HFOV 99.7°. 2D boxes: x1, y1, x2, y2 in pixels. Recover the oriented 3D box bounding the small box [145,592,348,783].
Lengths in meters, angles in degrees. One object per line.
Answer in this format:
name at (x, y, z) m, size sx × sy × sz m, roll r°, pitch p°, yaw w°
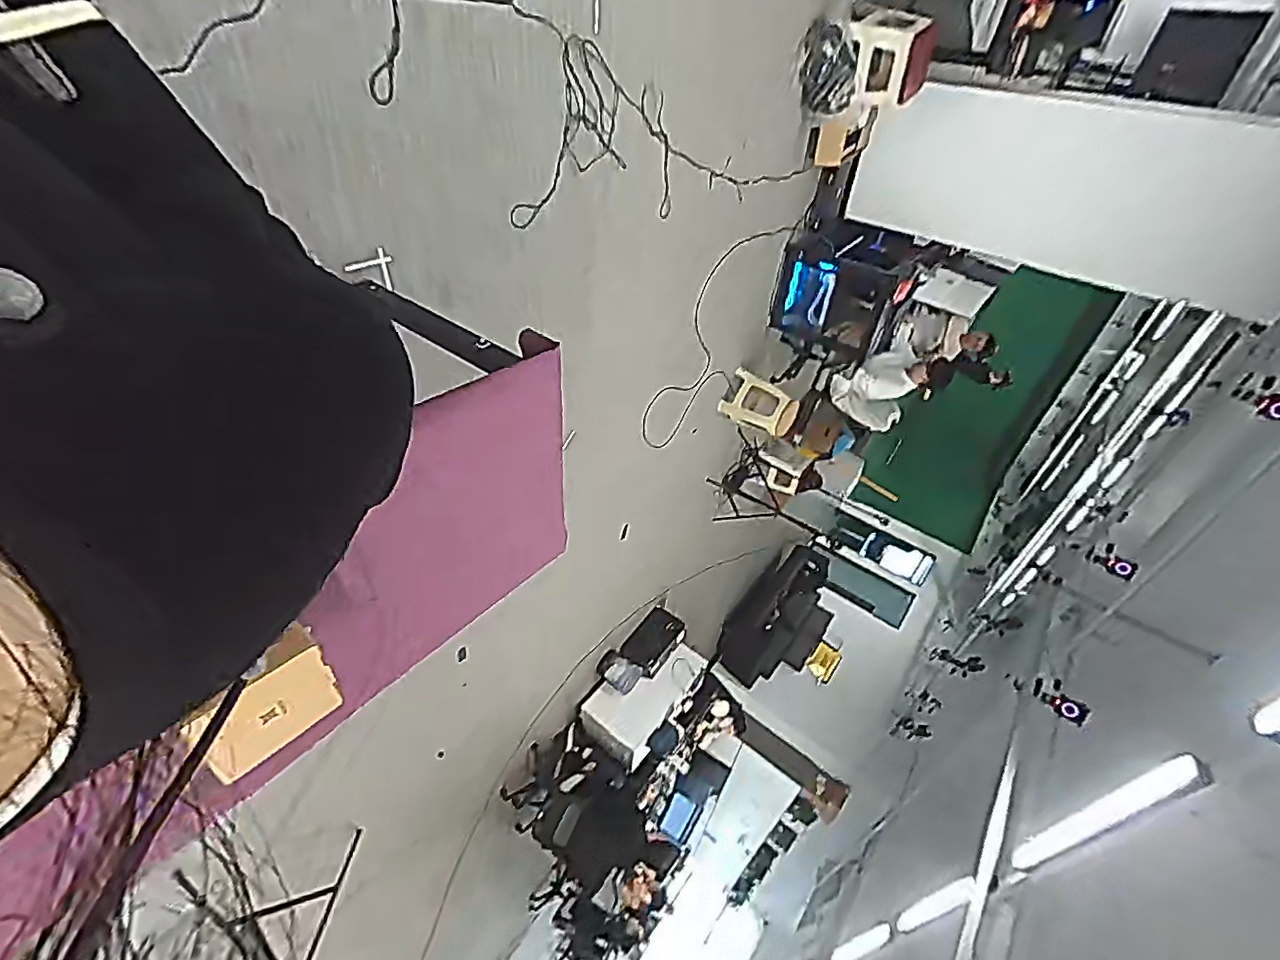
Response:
small box at (-0.591, 0.305, 0.825) m, size 0.179 × 0.176 × 0.168 m, roll -35°, pitch 143°, yaw -40°
